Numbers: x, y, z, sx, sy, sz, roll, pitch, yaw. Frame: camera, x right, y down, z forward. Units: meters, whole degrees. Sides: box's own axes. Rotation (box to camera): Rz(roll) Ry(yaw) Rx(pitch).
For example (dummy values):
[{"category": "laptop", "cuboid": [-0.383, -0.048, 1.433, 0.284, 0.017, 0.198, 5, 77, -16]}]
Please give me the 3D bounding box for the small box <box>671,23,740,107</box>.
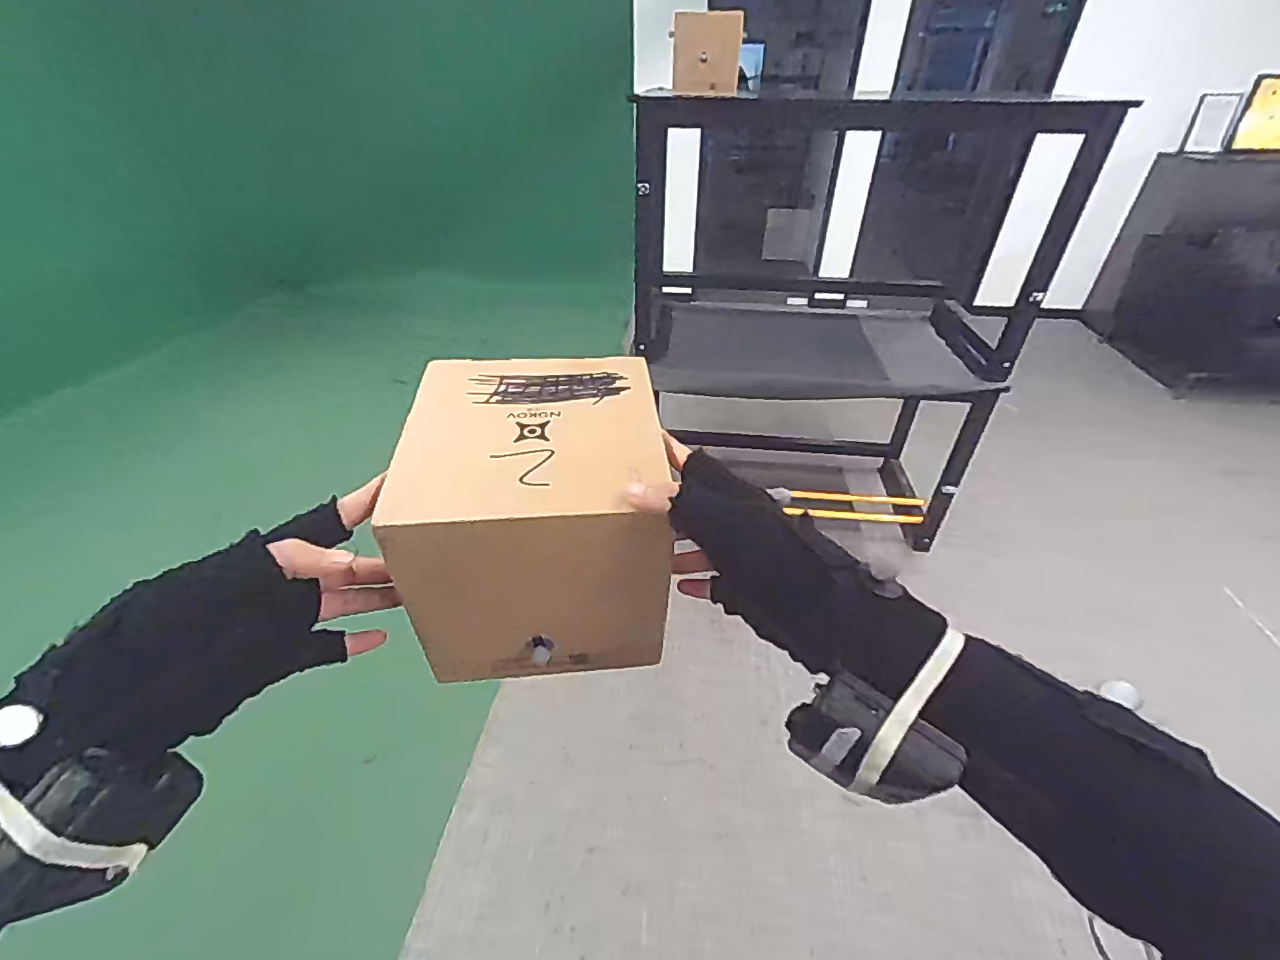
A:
[{"category": "small box", "cuboid": [0.170, -1.082, 1.418, 0.168, 0.176, 0.179, 5, 36, 5]}]
